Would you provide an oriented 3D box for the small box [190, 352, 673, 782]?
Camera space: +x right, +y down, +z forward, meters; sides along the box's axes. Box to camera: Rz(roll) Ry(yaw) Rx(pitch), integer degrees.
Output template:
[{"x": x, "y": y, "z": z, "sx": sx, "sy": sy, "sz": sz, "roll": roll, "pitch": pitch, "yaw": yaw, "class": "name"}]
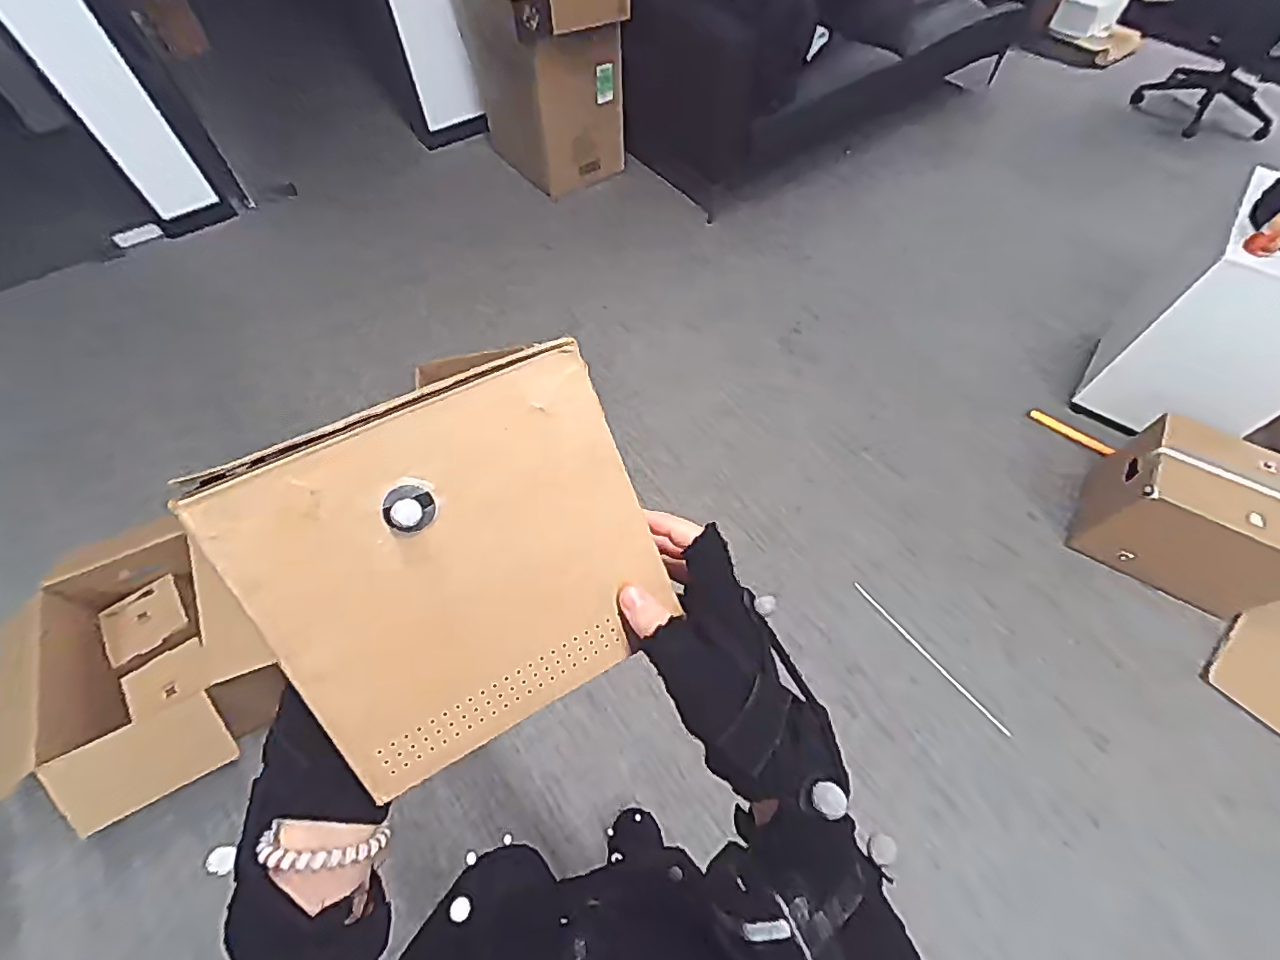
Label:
[{"x": -0.106, "y": 0.037, "z": 0.335, "sx": 0.179, "sy": 0.176, "sz": 0.168, "roll": -26, "pitch": 17, "yaw": -15, "class": "small box"}]
